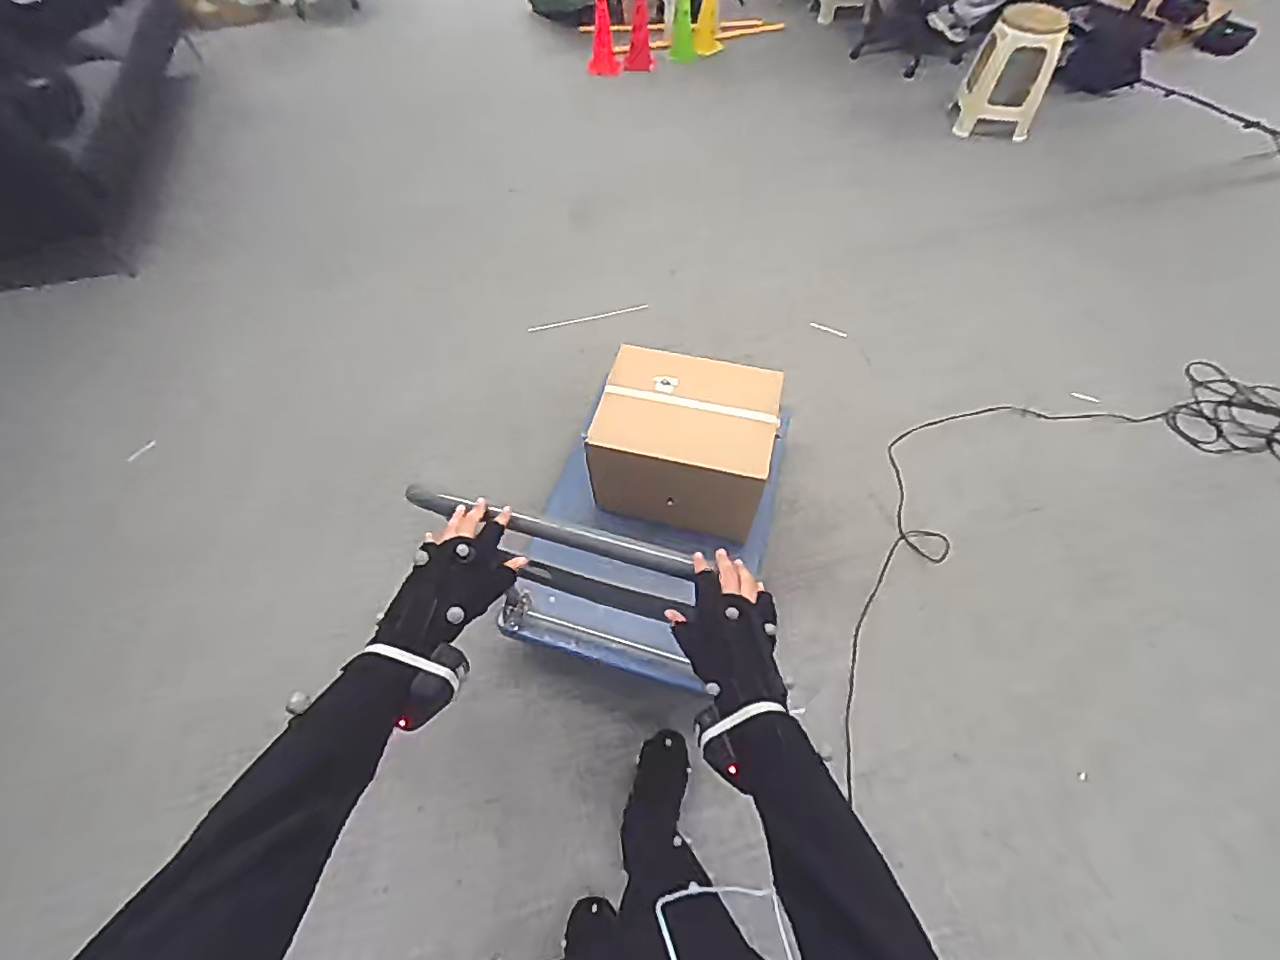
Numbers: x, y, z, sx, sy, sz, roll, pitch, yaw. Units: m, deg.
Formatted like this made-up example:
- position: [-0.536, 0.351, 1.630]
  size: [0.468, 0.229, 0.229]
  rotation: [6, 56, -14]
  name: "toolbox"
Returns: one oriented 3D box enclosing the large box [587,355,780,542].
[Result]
- position: [0.116, -0.073, 1.368]
  size: [0.408, 0.320, 0.320]
  rotation: [11, 58, 9]
  name: "large box"
